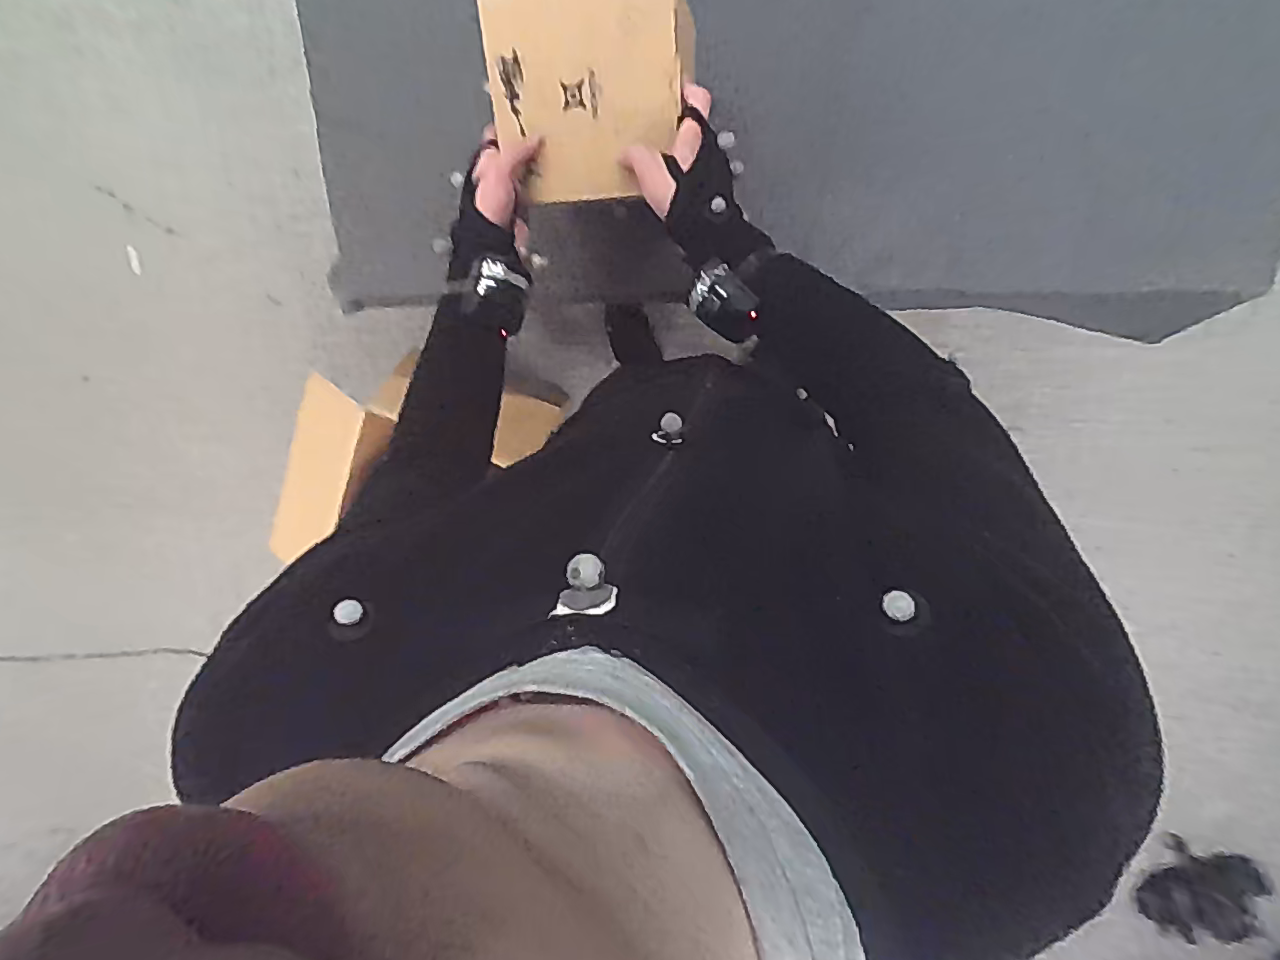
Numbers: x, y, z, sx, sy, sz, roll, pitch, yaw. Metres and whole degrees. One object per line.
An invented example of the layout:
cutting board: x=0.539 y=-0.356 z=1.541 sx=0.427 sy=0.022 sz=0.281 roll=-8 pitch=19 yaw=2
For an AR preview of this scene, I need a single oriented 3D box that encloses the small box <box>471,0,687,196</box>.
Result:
small box: x=-0.043 y=-0.384 z=0.544 sx=0.179 sy=0.176 sz=0.168 roll=1 pitch=117 yaw=9
